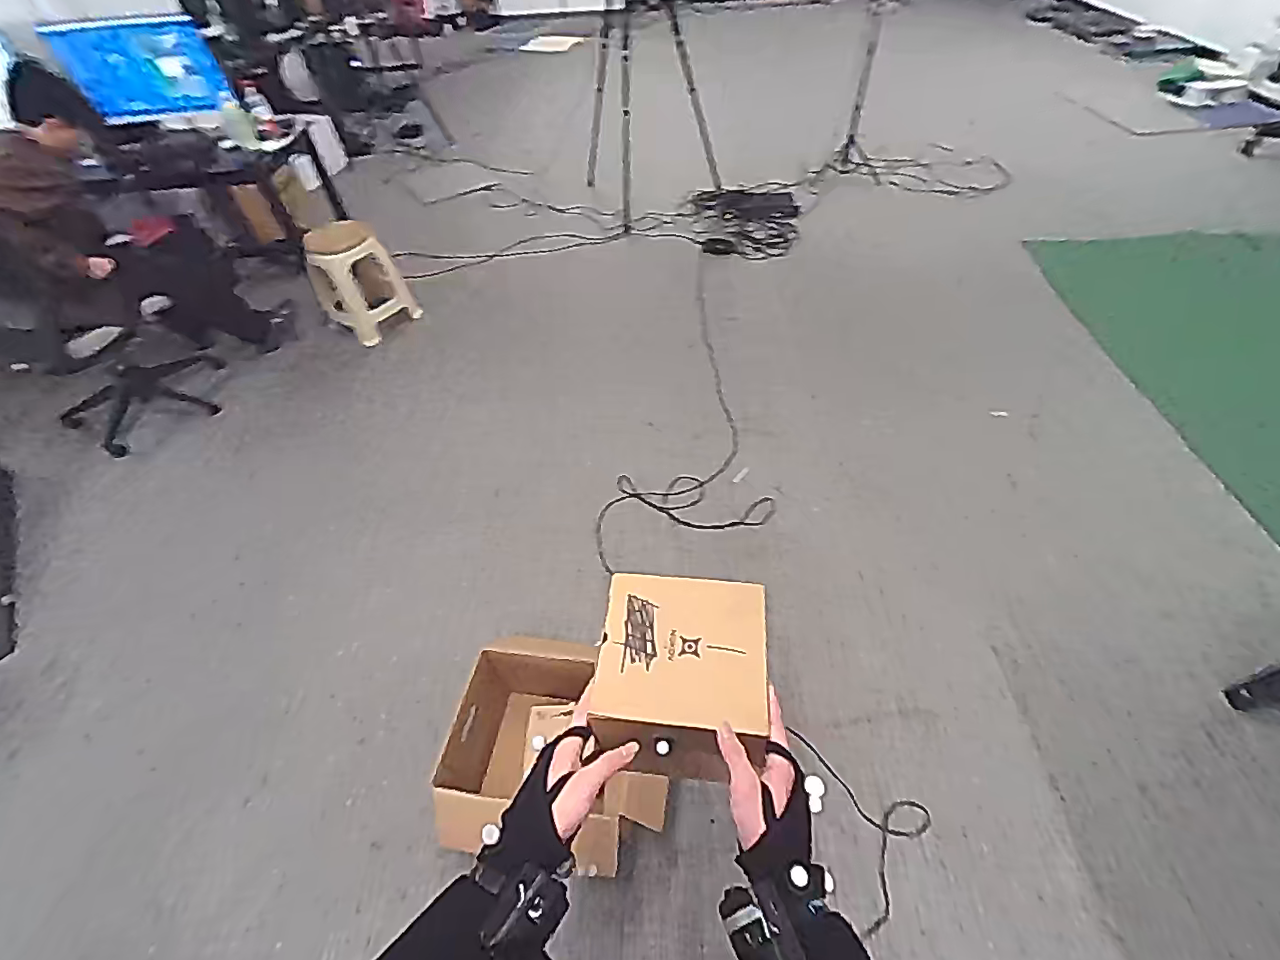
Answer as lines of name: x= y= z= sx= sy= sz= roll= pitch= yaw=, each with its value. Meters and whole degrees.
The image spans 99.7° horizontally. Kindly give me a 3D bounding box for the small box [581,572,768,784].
small box: x=0.048 y=0.227 z=0.617 sx=0.179 sy=0.176 sz=0.168 roll=5 pitch=49 yaw=10
